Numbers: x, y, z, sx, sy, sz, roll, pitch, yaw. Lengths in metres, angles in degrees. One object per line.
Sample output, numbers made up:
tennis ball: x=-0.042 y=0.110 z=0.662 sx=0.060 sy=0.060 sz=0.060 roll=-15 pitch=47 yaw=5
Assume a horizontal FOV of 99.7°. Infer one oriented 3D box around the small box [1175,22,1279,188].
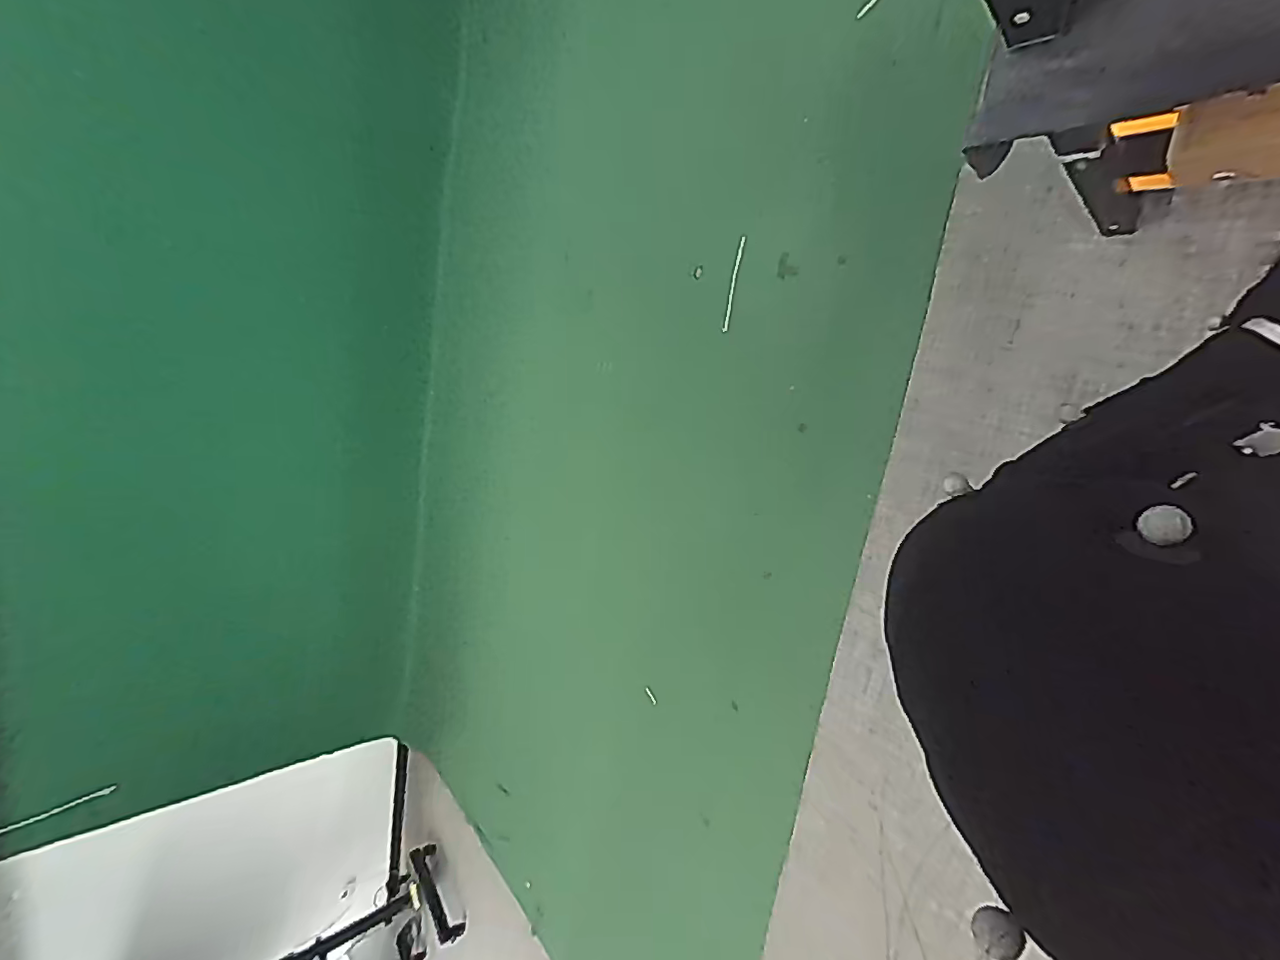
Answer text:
small box: x=1.002 y=-0.598 z=0.870 sx=0.168 sy=0.176 sz=0.179 roll=19 pitch=107 yaw=46
